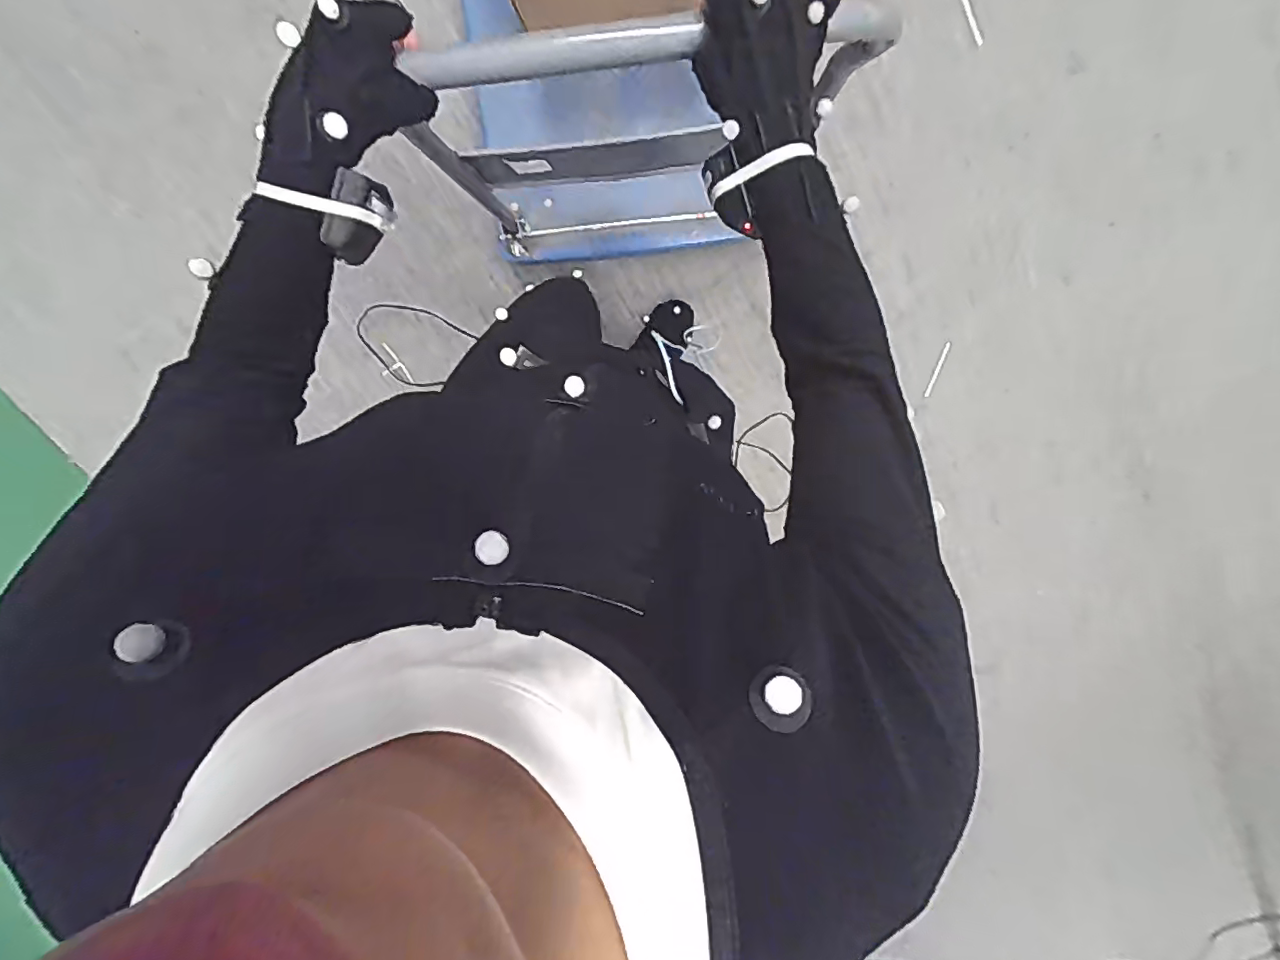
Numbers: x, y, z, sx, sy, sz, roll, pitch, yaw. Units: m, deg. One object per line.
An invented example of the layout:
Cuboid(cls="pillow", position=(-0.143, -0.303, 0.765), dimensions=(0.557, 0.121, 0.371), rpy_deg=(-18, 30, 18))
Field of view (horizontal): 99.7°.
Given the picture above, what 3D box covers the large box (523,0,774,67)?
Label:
Cuboid(cls="large box", position=(0.006, -0.908, 0.830), dimensions=(0.408, 0.320, 0.320), rpy_deg=(-7, 106, 6))
